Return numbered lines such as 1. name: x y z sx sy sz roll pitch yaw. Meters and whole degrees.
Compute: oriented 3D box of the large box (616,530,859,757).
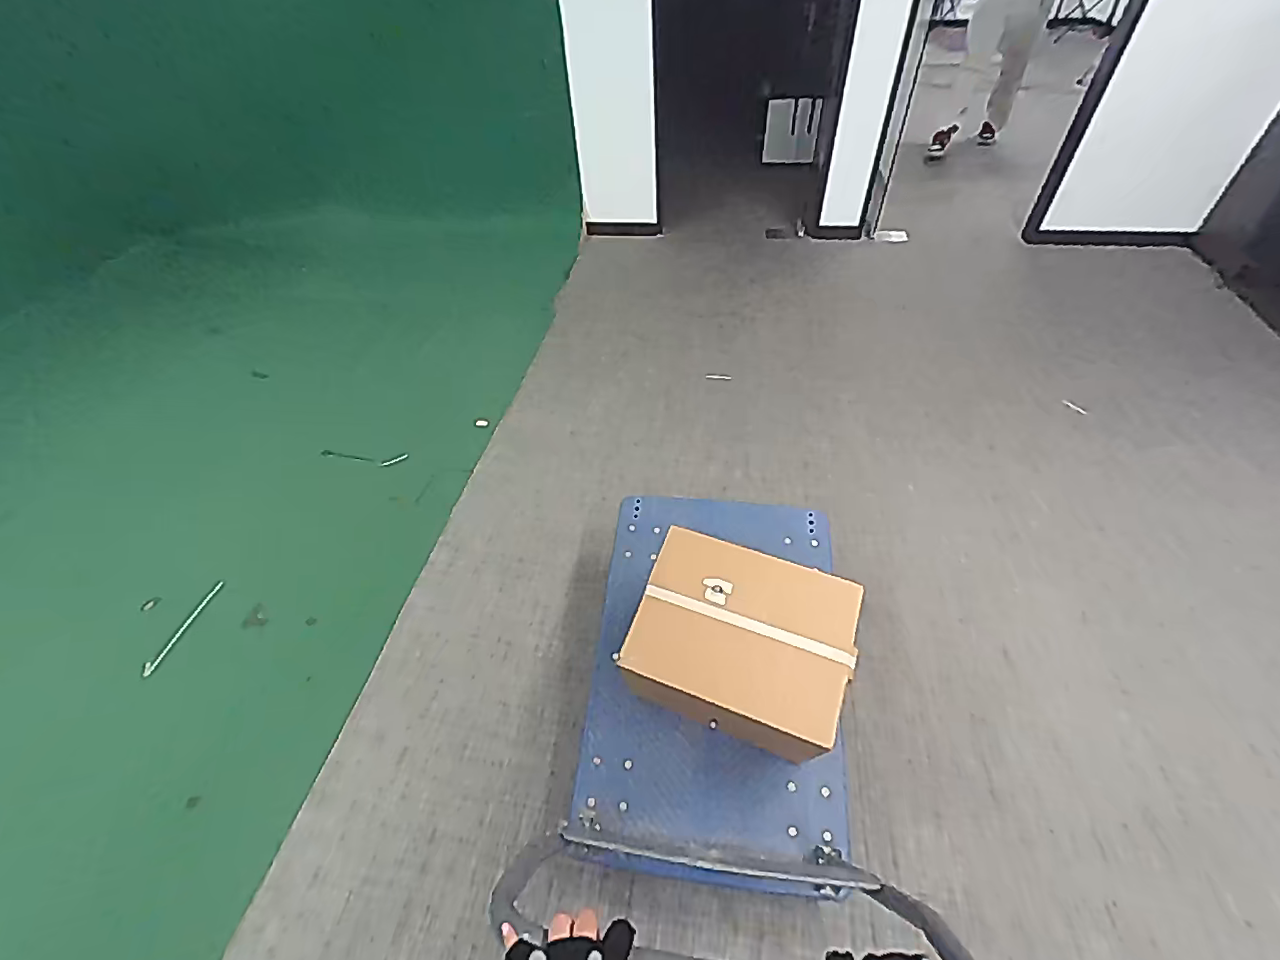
1. large box: 0.206 0.358 1.165 0.408 0.320 0.320 17 62 16
